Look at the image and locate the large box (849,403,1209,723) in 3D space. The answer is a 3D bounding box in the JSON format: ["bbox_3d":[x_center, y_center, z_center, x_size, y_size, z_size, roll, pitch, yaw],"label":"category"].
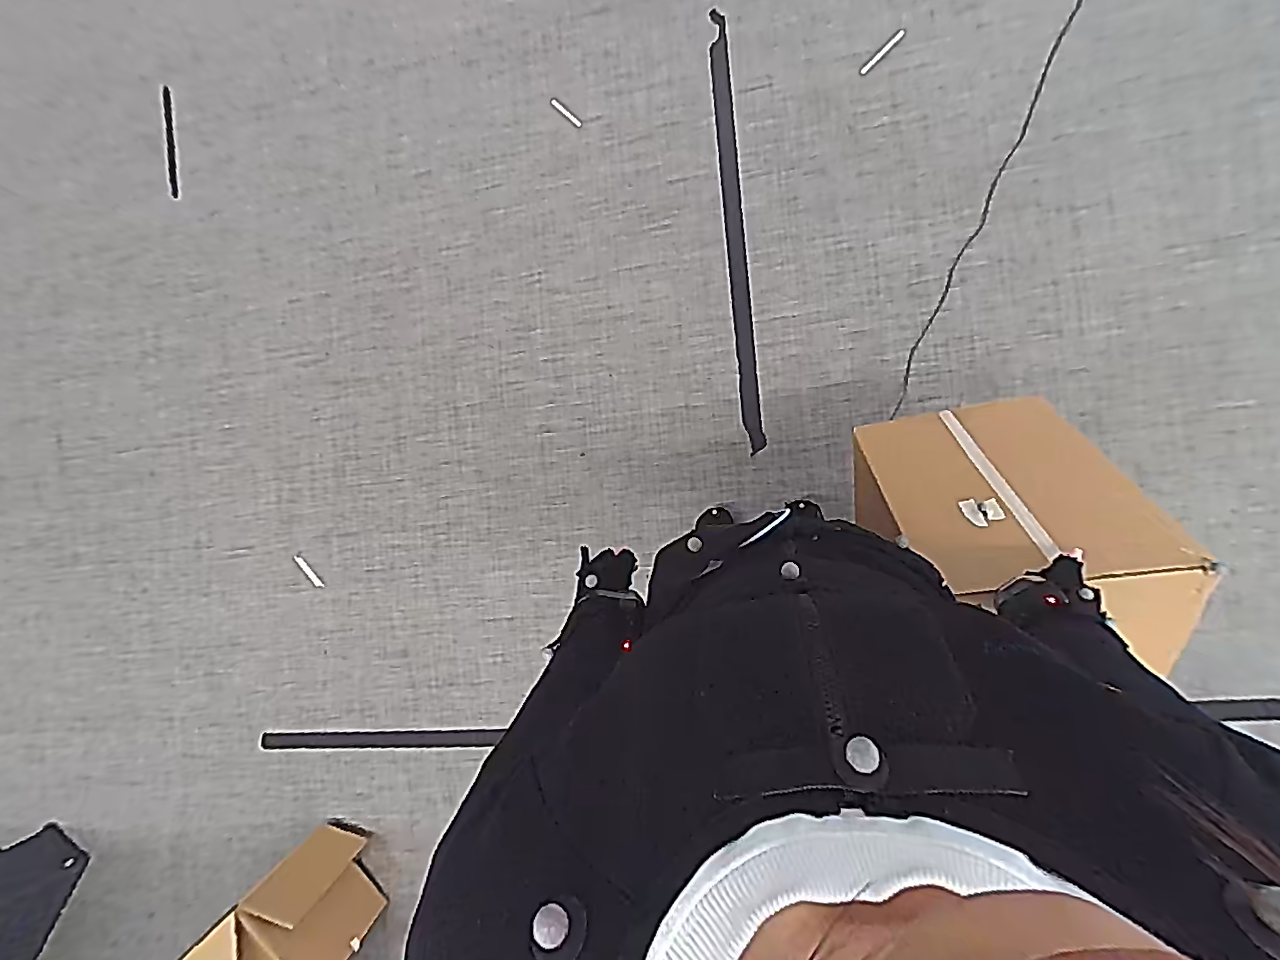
[{"bbox_3d":[0.556,0.126,0.892,0.320,0.408,0.320,-10,127,12],"label":"large box"}]
